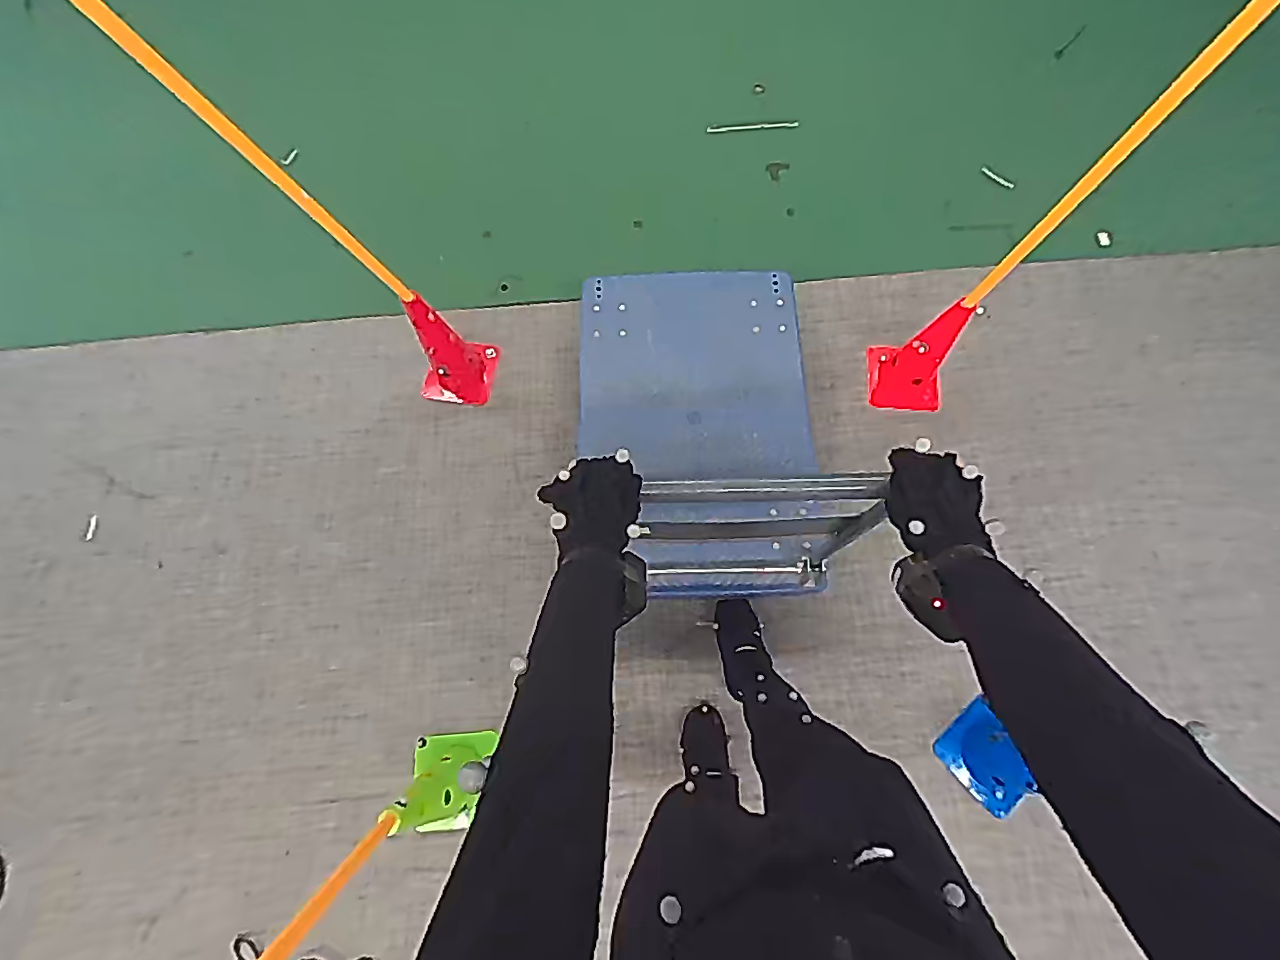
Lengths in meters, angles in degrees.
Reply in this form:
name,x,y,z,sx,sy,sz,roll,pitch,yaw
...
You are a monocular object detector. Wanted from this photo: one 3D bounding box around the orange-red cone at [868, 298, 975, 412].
name,x,y,z,sx,sy,sz,roll,pitch,yaw
orange-red cone,0.753,-0.344,1.396,0.198,0.360,0.199,6,73,4
